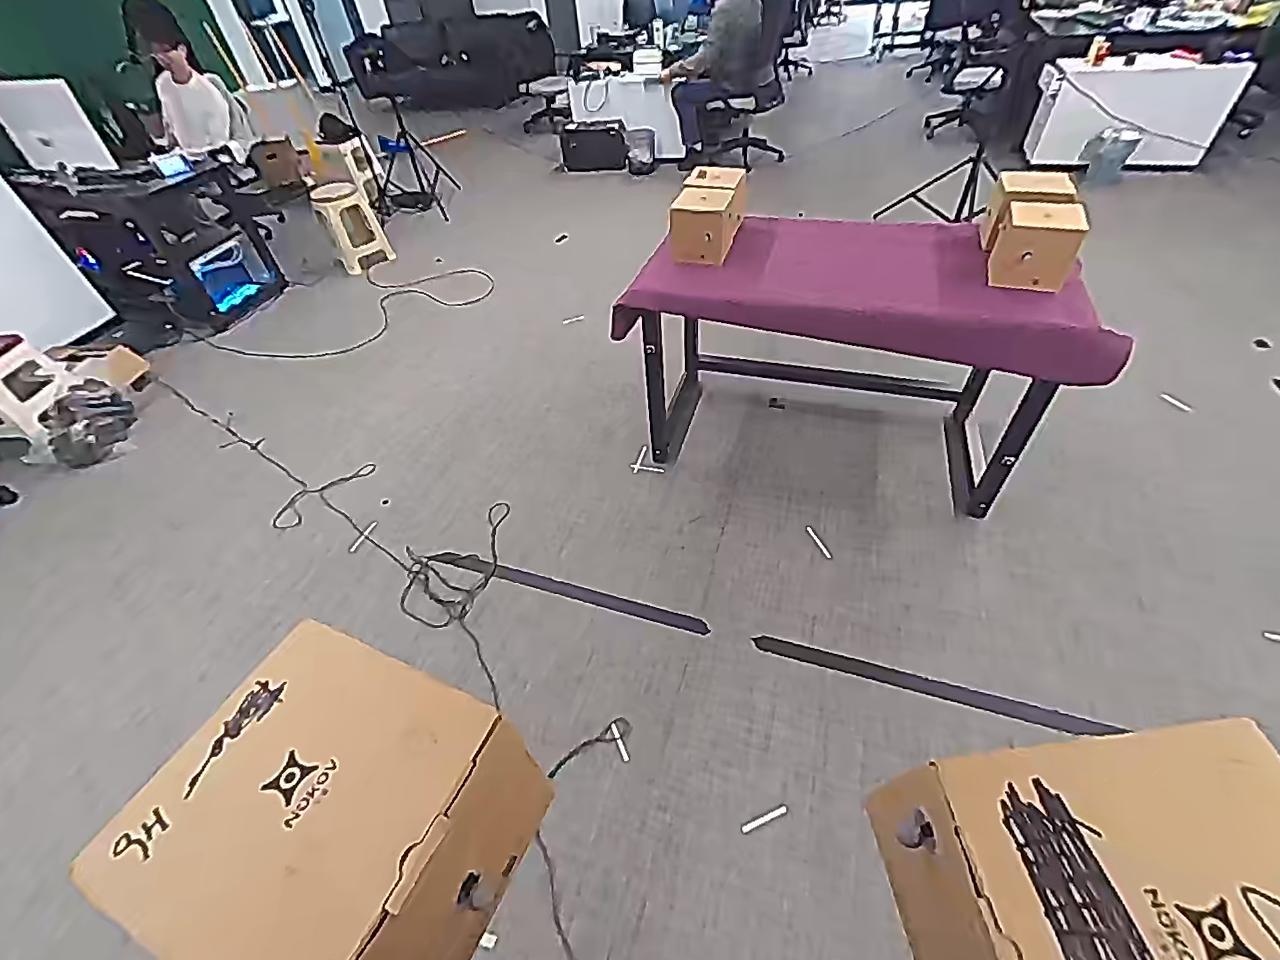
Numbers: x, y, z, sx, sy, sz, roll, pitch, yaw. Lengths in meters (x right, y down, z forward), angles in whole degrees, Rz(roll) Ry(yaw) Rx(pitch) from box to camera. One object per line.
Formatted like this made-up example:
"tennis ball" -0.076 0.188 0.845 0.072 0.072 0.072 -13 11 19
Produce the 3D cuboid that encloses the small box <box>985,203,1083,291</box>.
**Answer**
"small box" 1.053 -0.628 1.459 0.168 0.176 0.179 14 48 20

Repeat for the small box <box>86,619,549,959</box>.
"small box" -0.182 0.231 0.368 0.179 0.176 0.168 17 50 19

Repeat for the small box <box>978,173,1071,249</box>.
"small box" 1.122 -0.789 1.598 0.179 0.176 0.168 12 49 16

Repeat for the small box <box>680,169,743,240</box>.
"small box" 0.242 -0.934 1.834 0.179 0.176 0.168 13 51 16
